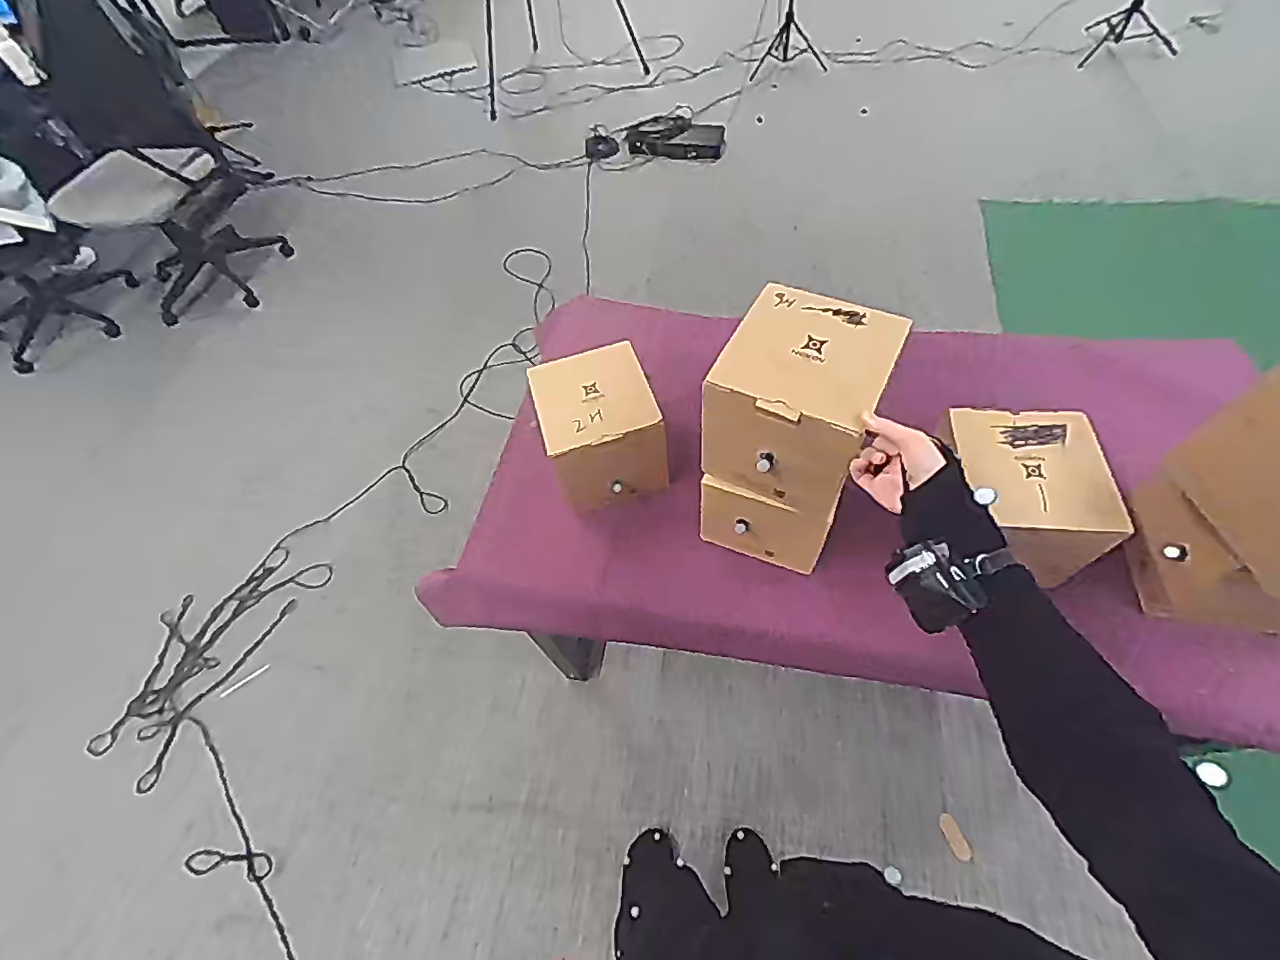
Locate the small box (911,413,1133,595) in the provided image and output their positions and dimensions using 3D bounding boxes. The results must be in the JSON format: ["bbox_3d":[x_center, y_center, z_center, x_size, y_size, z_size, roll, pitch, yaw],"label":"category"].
[{"bbox_3d":[0.477,0.033,0.714,0.168,0.176,0.179,3,57,8],"label":"small box"}]

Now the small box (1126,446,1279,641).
[{"bbox_3d":[0.737,0.081,0.653,0.179,0.176,0.168,8,57,11],"label":"small box"}]

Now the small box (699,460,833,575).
[{"bbox_3d":[0.191,0.009,0.763,0.168,0.176,0.179,17,59,17],"label":"small box"}]

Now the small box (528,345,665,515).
[{"bbox_3d":[-0.063,-0.075,0.840,0.168,0.176,0.179,-16,57,-5],"label":"small box"}]

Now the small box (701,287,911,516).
[{"bbox_3d":[0.183,-0.086,0.629,0.168,0.176,0.179,24,63,20],"label":"small box"}]
